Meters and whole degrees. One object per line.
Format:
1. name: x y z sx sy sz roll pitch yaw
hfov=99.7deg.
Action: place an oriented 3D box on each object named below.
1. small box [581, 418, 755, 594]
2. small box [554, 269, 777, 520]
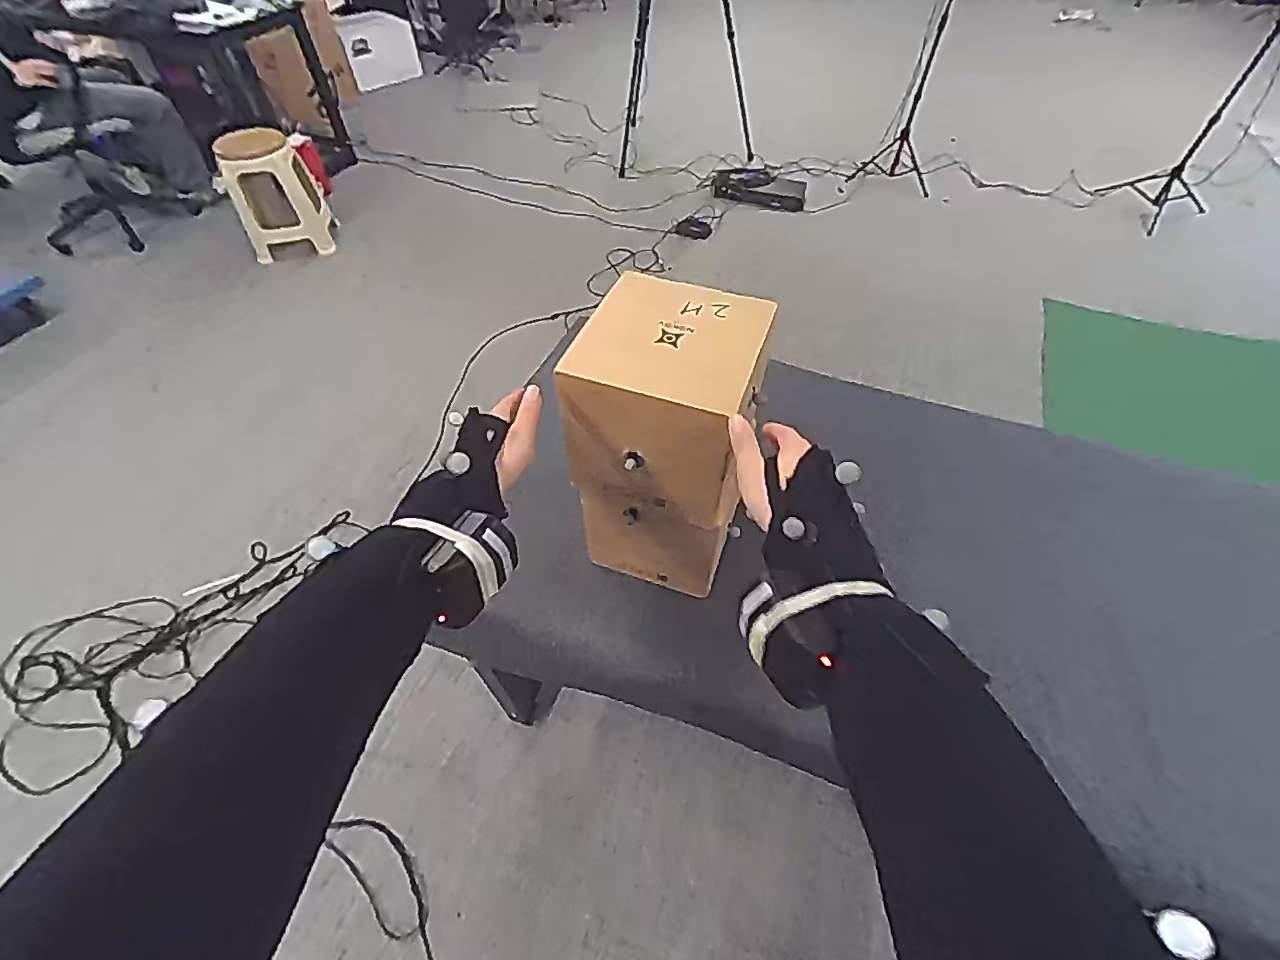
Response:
1. small box: 0.035 0.014 0.697 0.168 0.176 0.179 16 52 12
2. small box: 0.030 -0.086 0.565 0.168 0.176 0.179 17 53 12
